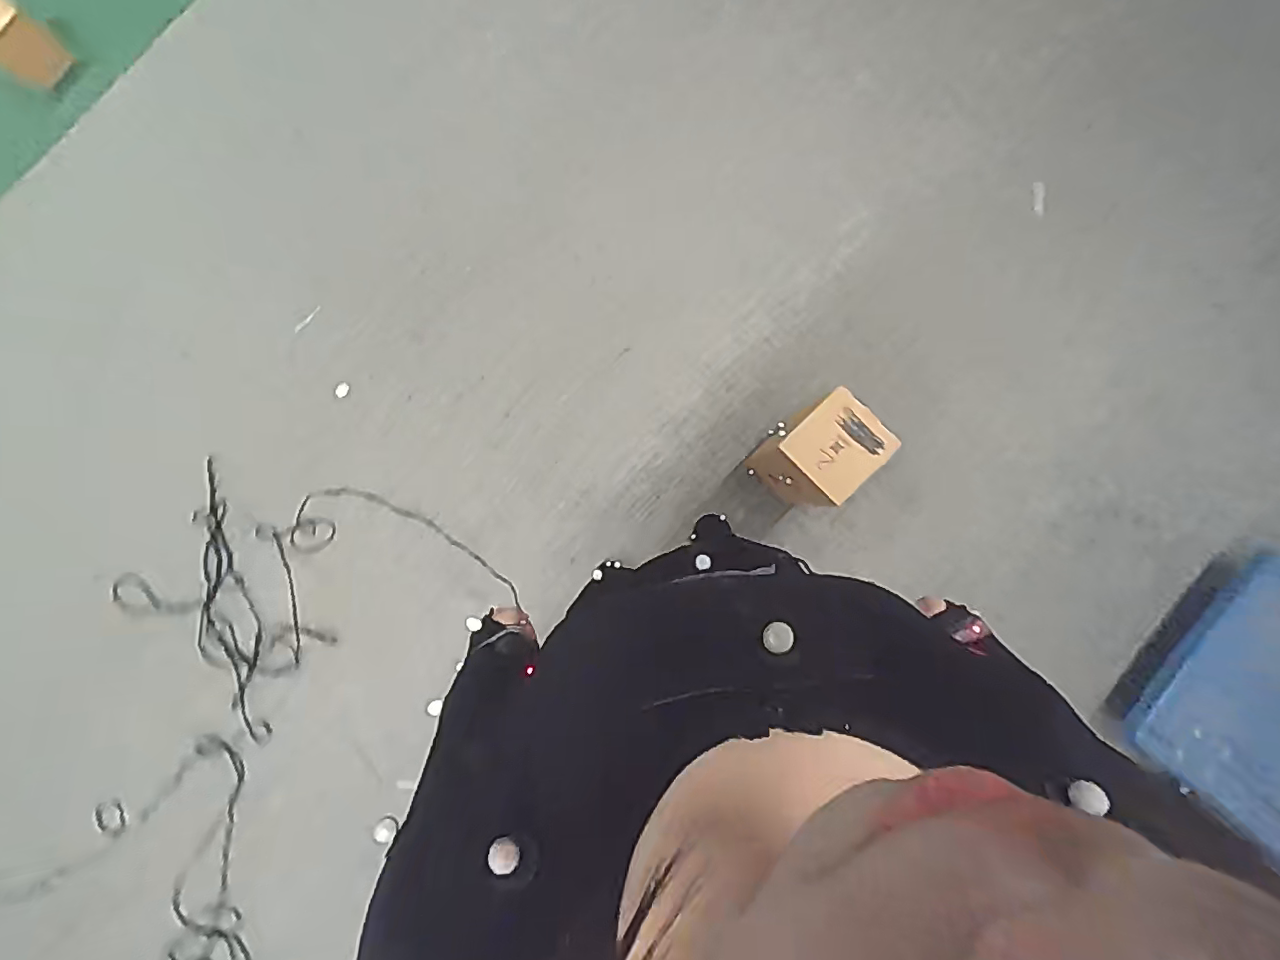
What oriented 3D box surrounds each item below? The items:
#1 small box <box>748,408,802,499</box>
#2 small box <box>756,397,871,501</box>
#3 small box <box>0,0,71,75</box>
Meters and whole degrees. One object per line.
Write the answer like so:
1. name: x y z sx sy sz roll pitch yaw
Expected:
1. small box: 0.406 -0.062 1.437 0.179 0.176 0.168 -44 87 -1
2. small box: 0.396 -0.064 1.273 0.168 0.176 0.179 -44 87 1
3. small box: -1.864 -1.351 1.595 0.179 0.176 0.168 43 91 4
